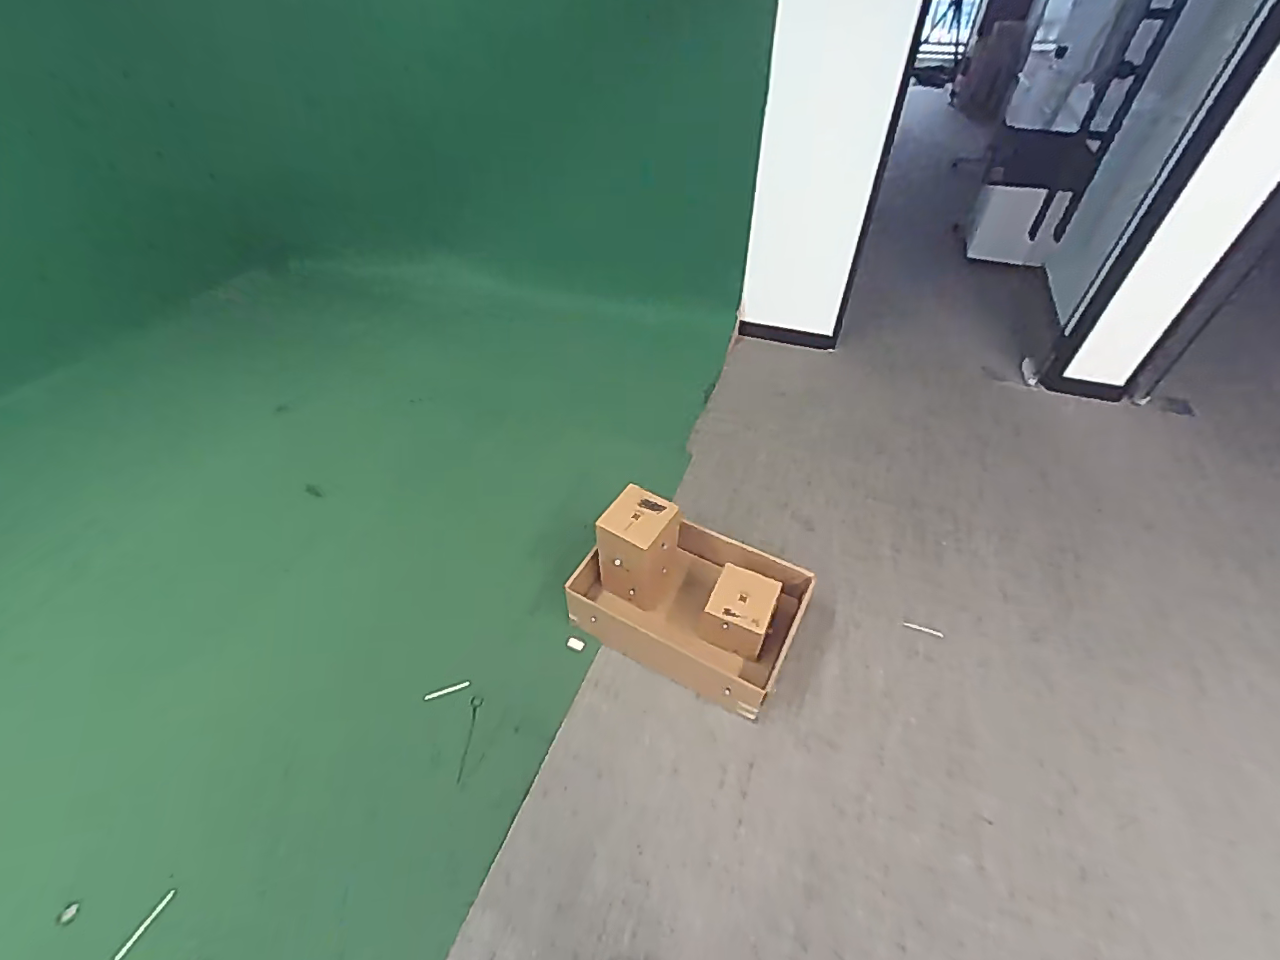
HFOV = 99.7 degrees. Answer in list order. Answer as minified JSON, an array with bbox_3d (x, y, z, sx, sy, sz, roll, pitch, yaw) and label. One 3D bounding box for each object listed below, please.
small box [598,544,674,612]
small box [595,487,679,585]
[{"bbox_3d":[-0.009,0.266,1.635,0.168,0.176,0.179,24,51,21],"label":"small box"},{"bbox_3d":[-0.008,0.157,1.512,0.168,0.176,0.179,25,53,22],"label":"small box"}]
